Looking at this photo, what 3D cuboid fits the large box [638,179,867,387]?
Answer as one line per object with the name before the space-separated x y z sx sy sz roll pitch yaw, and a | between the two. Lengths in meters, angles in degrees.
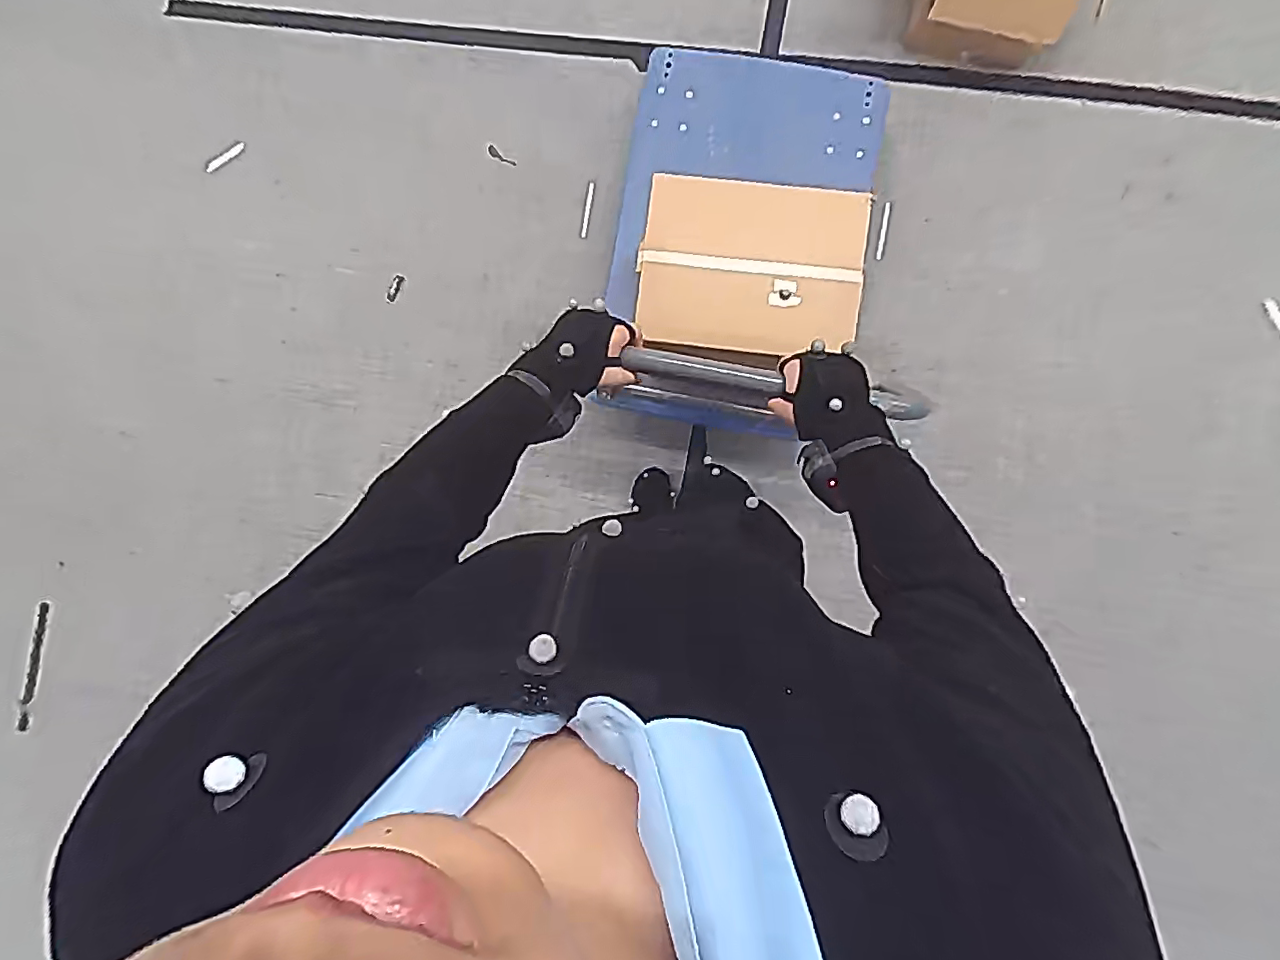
large box | 0.213 -0.395 1.159 0.408 0.320 0.320 7 91 2
